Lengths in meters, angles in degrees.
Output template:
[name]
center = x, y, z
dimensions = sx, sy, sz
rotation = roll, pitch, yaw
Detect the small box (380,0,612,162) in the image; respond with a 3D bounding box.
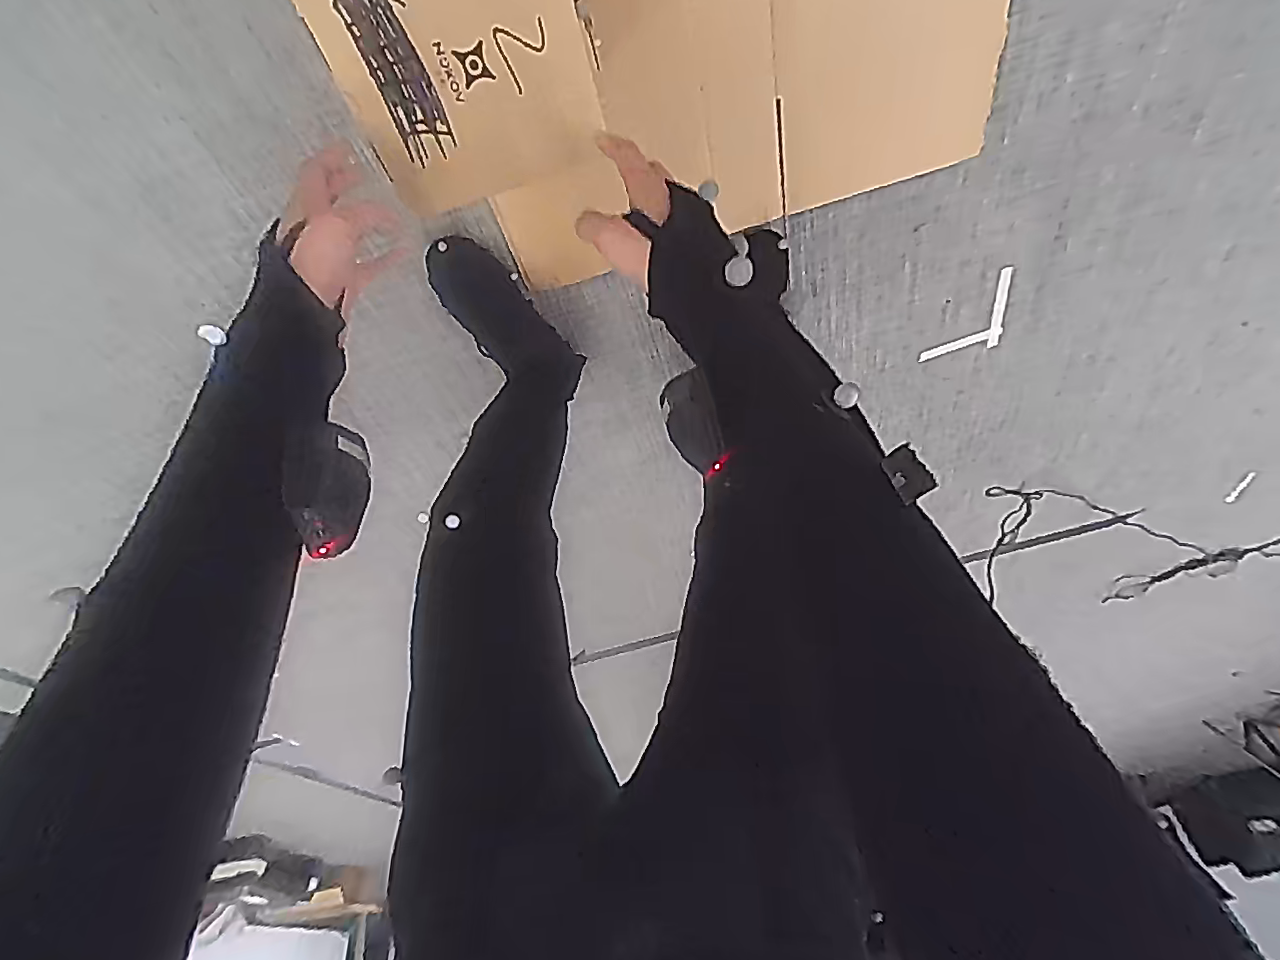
[small box]
center = -0.141, -0.462, 0.552
dimensions = 0.179, 0.176, 0.168
rotation = -15, 136, 6
